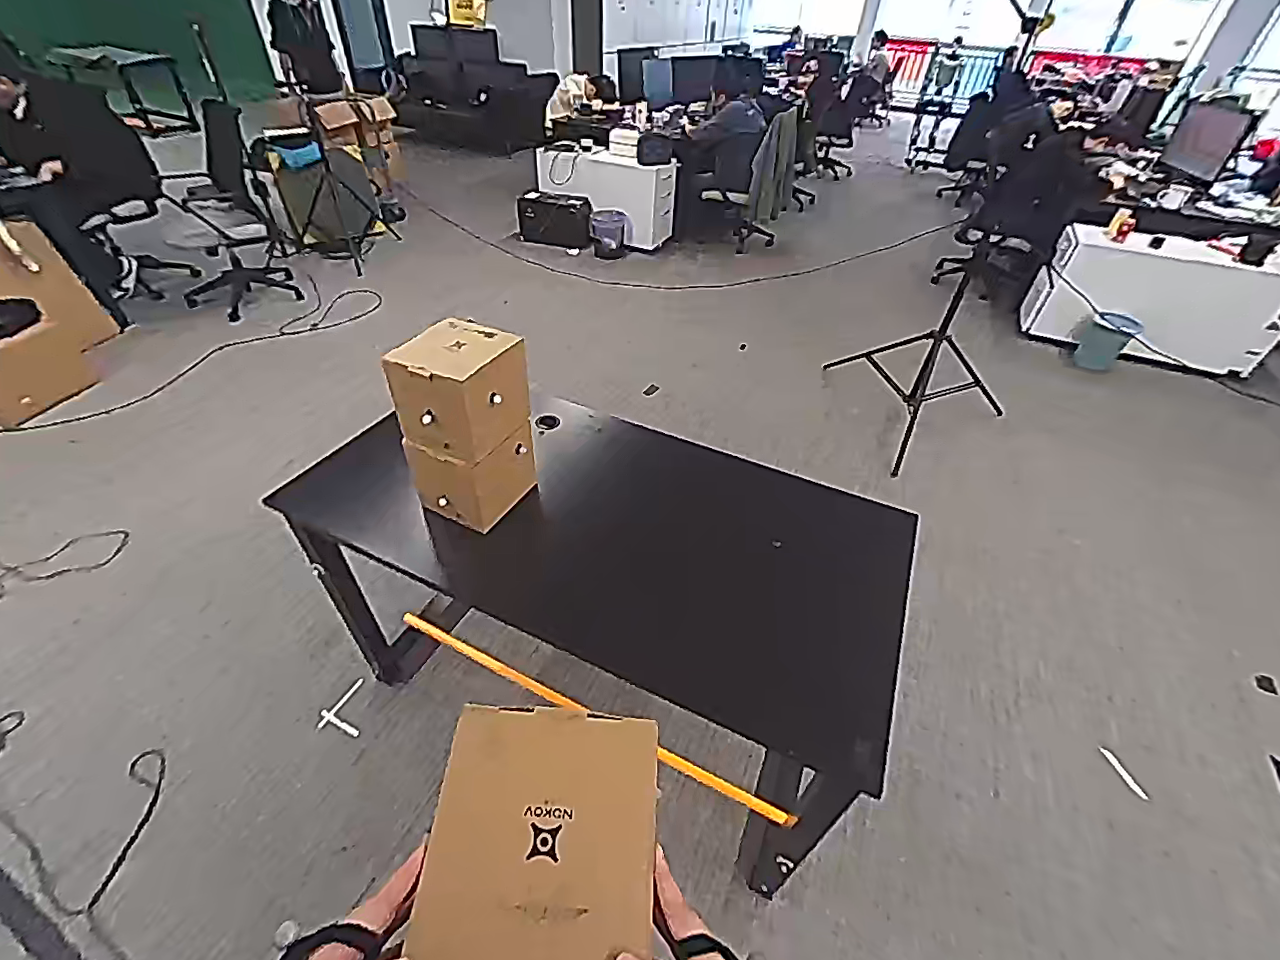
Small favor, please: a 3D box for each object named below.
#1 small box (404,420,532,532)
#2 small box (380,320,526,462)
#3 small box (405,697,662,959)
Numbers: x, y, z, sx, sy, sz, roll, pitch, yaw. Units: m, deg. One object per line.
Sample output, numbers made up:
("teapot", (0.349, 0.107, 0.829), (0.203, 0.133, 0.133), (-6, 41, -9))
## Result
("small box", (-0.329, -0.030, 1.071), (0.168, 0.176, 0.179), (20, 45, 18))
("small box", (-0.319, -0.158, 0.969), (0.168, 0.176, 0.179), (19, 44, 16))
("small box", (-0.078, 0.307, 0.466), (0.168, 0.176, 0.179), (7, 52, -3))
